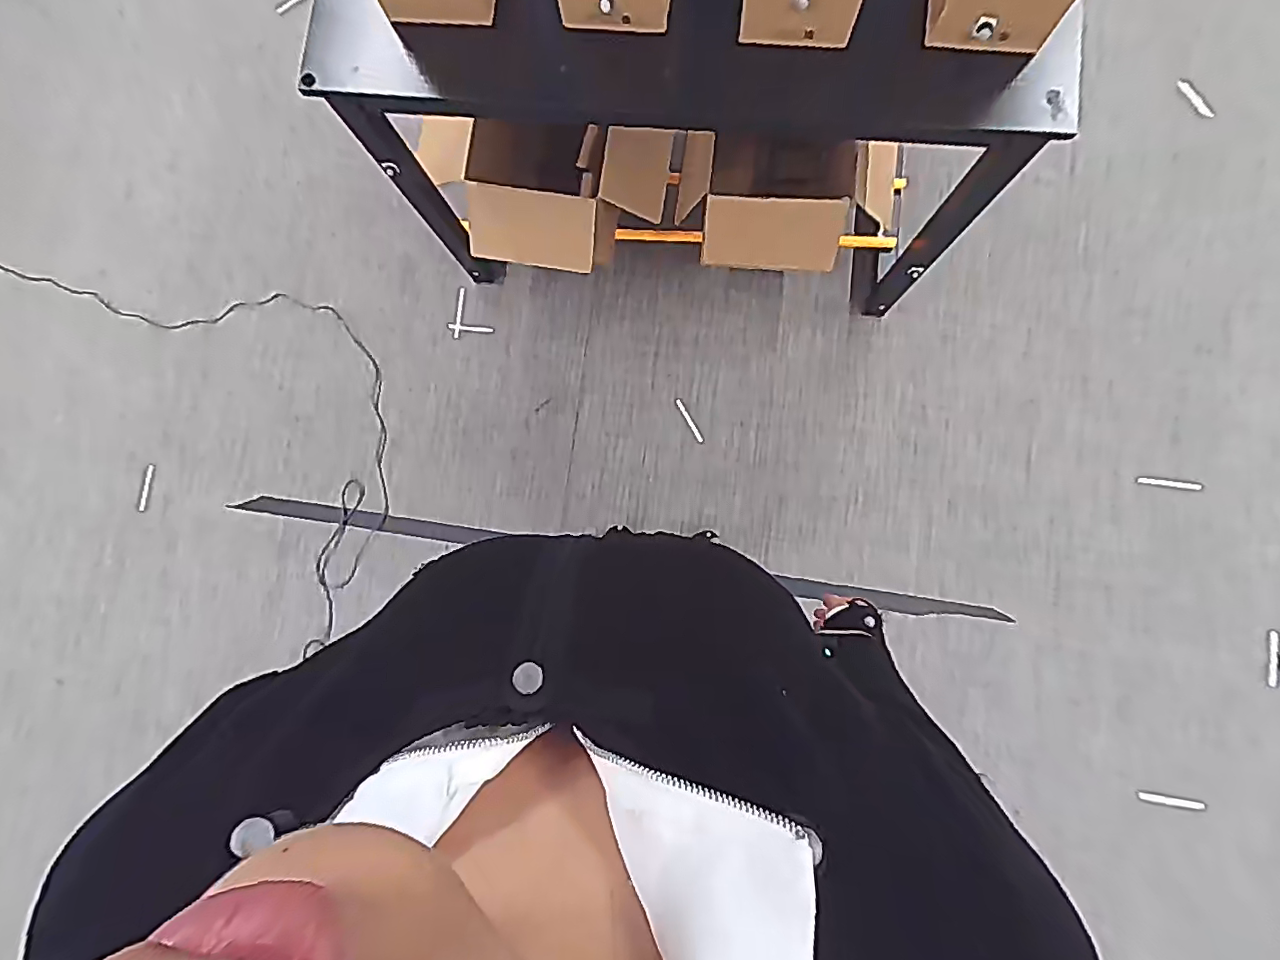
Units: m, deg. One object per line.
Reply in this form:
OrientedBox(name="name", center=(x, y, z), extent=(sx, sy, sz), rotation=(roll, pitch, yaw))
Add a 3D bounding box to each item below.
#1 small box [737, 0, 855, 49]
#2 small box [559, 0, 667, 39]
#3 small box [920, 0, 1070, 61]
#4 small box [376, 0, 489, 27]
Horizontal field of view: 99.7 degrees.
OrientedBox(name="small box", center=(0.233, -0.759, 0.766), extent=(0.168, 0.176, 0.179), rotation=(7, 85, 5))
OrientedBox(name="small box", center=(-0.040, -0.800, 0.786), extent=(0.168, 0.176, 0.179), rotation=(7, 85, 5))
OrientedBox(name="small box", center=(0.508, -0.732, 0.746), extent=(0.168, 0.176, 0.179), rotation=(7, 85, 6))
OrientedBox(name="small box", center=(-0.323, -0.823, 0.804), extent=(0.179, 0.176, 0.168), rotation=(6, 84, 4))
